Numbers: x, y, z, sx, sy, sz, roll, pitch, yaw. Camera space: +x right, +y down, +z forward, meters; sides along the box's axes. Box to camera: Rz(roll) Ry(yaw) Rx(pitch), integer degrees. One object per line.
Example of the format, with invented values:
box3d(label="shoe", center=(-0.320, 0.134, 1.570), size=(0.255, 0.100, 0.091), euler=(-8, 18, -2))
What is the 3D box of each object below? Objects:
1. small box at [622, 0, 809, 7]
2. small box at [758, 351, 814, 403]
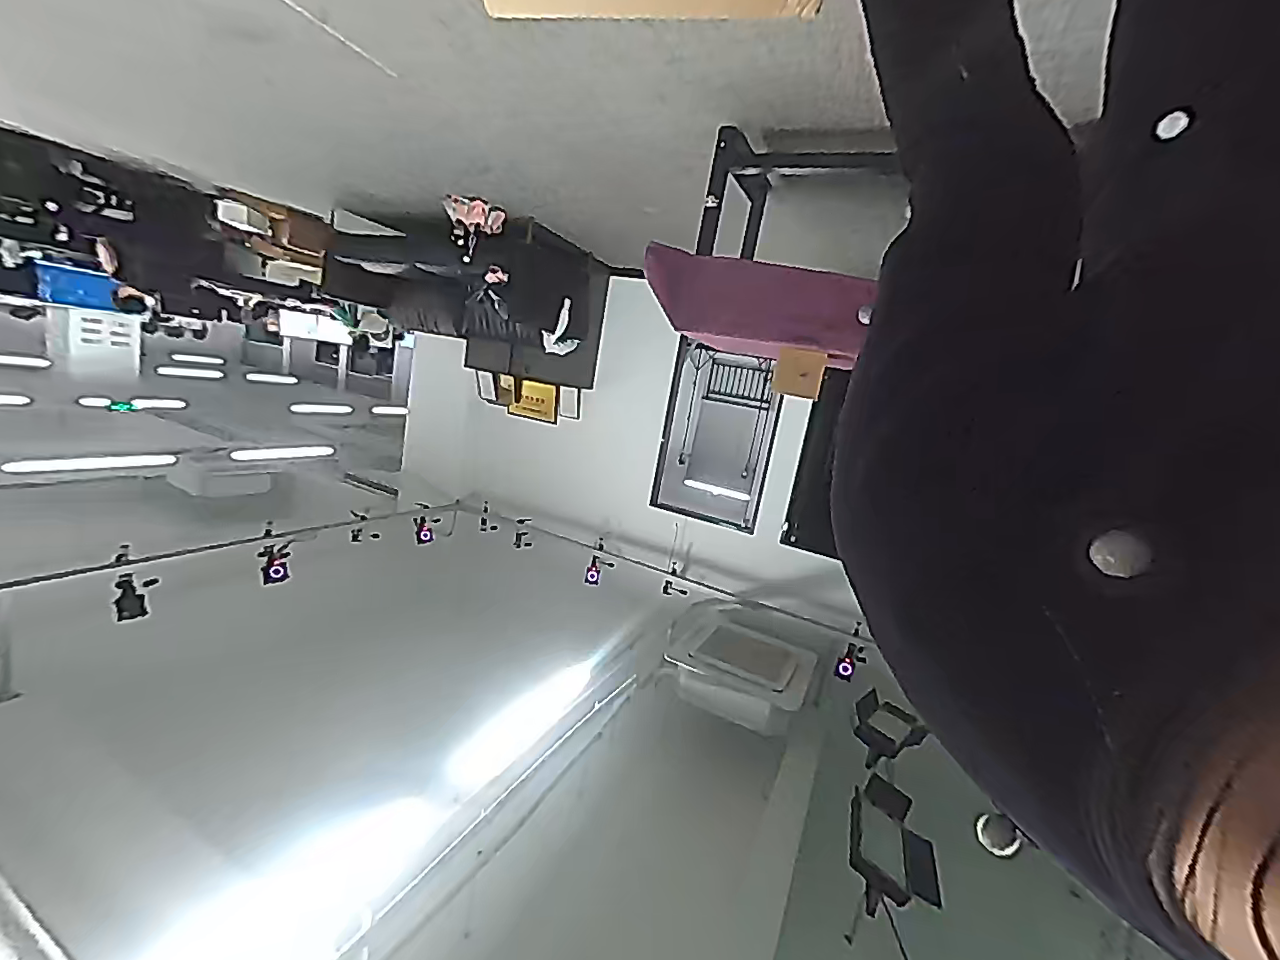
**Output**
box3d(label="small box", center=(0.005, -0.320, 0.183), size=(0.168, 0.179, 0.176), euler=(2, 175, 2))
box3d(label="small box", center=(0.553, -0.389, 2.046), size=(0.179, 0.176, 0.168), euler=(13, -171, 15))
